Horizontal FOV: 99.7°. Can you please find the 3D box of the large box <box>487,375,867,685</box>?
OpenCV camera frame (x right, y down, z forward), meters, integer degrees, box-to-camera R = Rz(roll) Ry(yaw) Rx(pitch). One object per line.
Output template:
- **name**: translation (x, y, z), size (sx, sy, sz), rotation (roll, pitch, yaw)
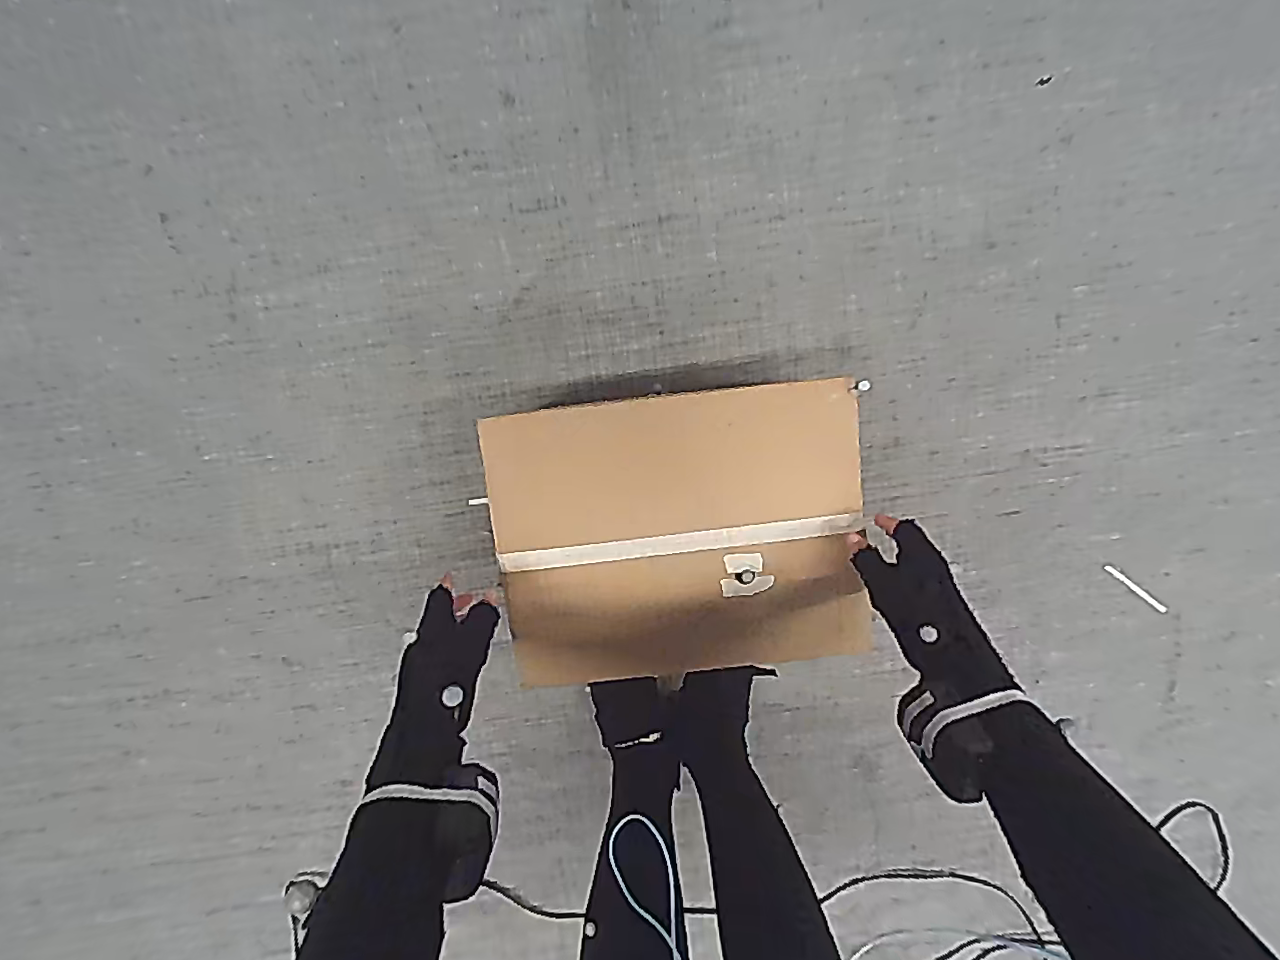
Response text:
- **large box**: translation (0.044, 0.044, 0.752), size (0.408, 0.320, 0.320), rotation (-7, 98, 0)
